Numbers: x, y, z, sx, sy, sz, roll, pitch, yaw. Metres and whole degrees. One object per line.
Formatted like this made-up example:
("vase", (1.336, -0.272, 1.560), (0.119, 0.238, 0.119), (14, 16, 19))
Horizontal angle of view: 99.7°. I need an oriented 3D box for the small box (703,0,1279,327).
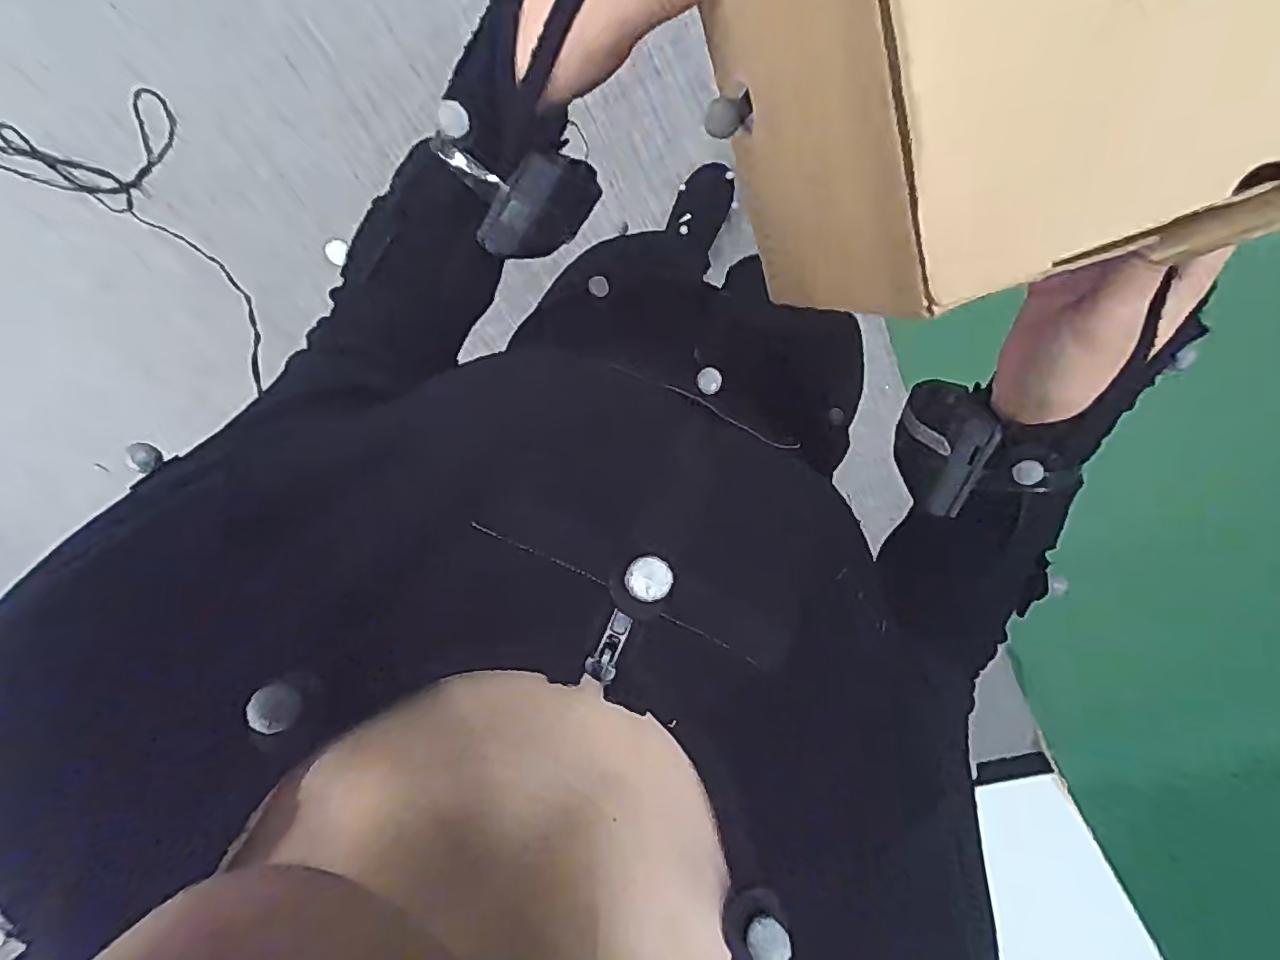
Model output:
("small box", (0.125, -0.170, 0.191), (0.168, 0.176, 0.179), (-17, 109, 5))
